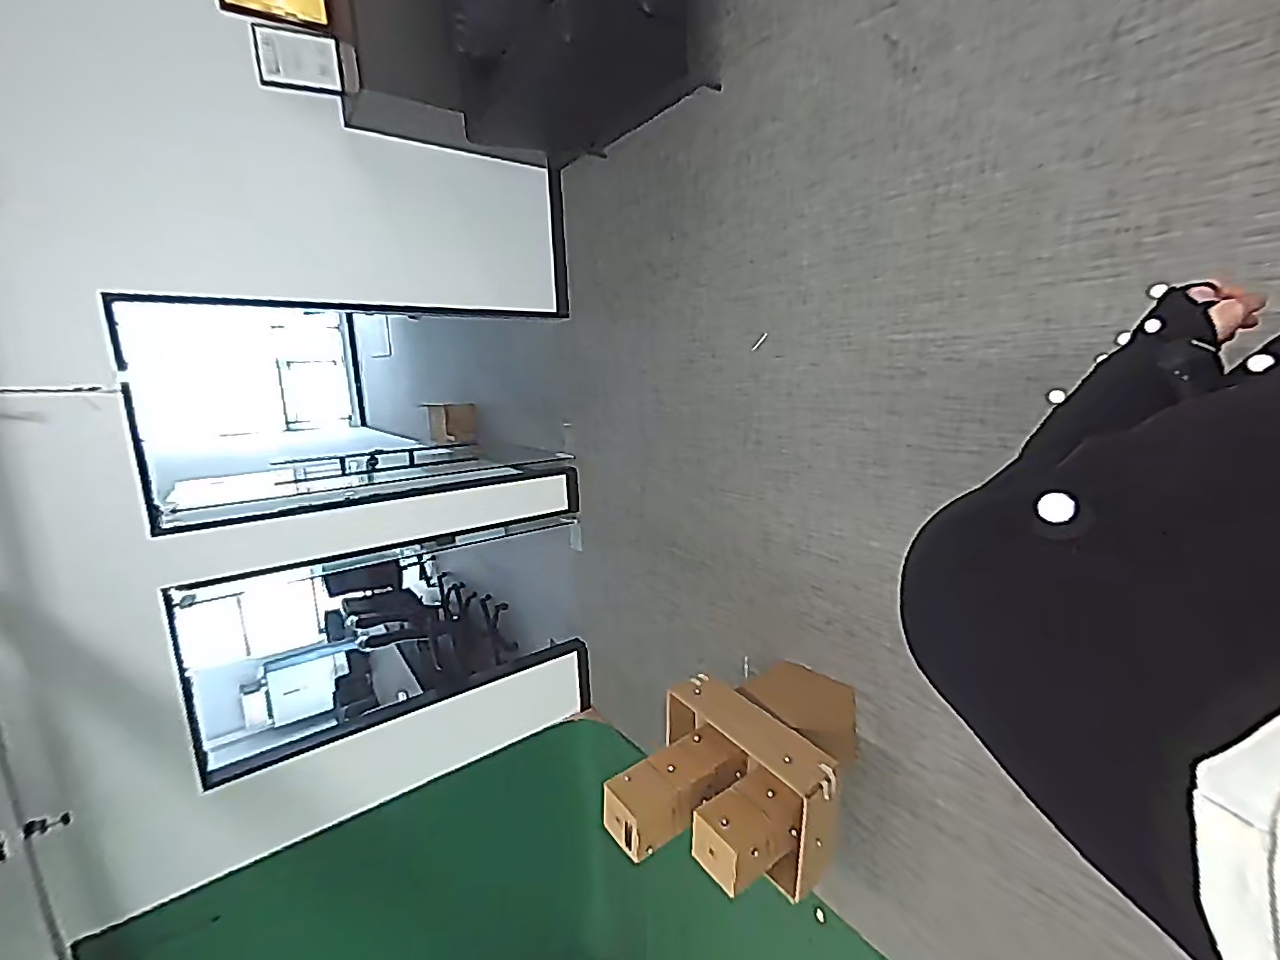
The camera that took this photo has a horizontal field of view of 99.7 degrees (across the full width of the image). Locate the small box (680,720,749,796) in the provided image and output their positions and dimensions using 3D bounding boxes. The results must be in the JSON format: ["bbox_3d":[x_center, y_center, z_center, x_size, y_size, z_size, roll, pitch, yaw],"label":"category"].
[{"bbox_3d":[0.259,0.980,1.908,0.179,0.176,0.168,17,112,50],"label":"small box"}]

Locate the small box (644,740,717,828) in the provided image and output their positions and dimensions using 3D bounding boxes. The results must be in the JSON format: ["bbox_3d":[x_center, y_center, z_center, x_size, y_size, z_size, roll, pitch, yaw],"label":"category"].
[{"bbox_3d":[0.134,1.005,1.809,0.179,0.176,0.168,15,110,49],"label":"small box"}]

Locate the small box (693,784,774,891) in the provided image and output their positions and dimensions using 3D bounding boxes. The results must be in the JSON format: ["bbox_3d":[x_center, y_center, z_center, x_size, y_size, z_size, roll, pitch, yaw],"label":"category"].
[{"bbox_3d":[0.280,1.056,1.615,0.179,0.176,0.168,19,112,51],"label":"small box"}]
